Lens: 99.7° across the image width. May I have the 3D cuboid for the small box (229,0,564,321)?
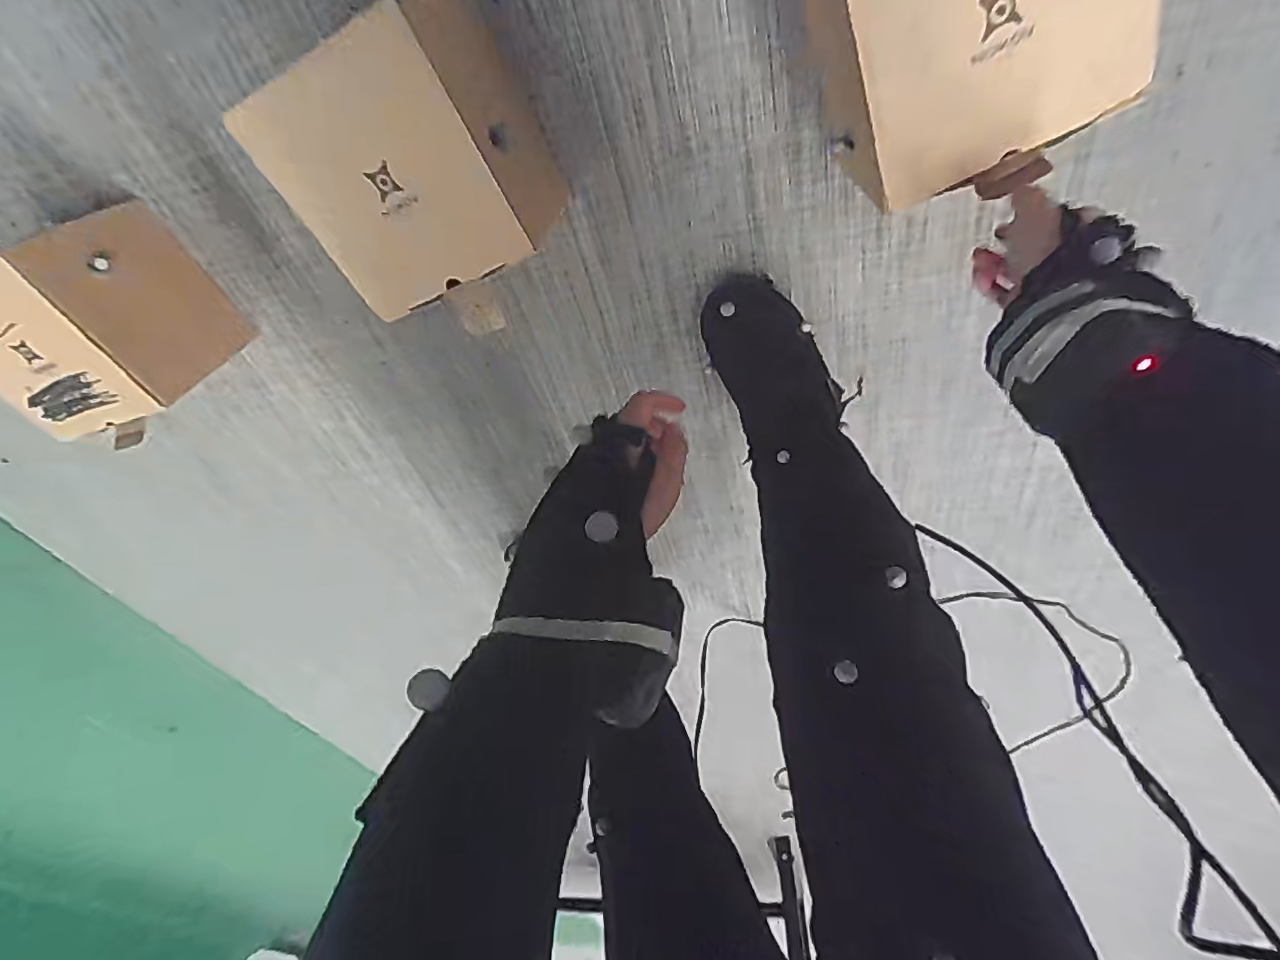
[{"bbox_3d":[-0.185,-0.277,0.473,0.168,0.176,0.179,-17,129,19],"label":"small box"}]

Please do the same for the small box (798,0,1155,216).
[{"bbox_3d":[0.223,-0.333,0.390,0.168,0.176,0.179,-20,126,20],"label":"small box"}]
